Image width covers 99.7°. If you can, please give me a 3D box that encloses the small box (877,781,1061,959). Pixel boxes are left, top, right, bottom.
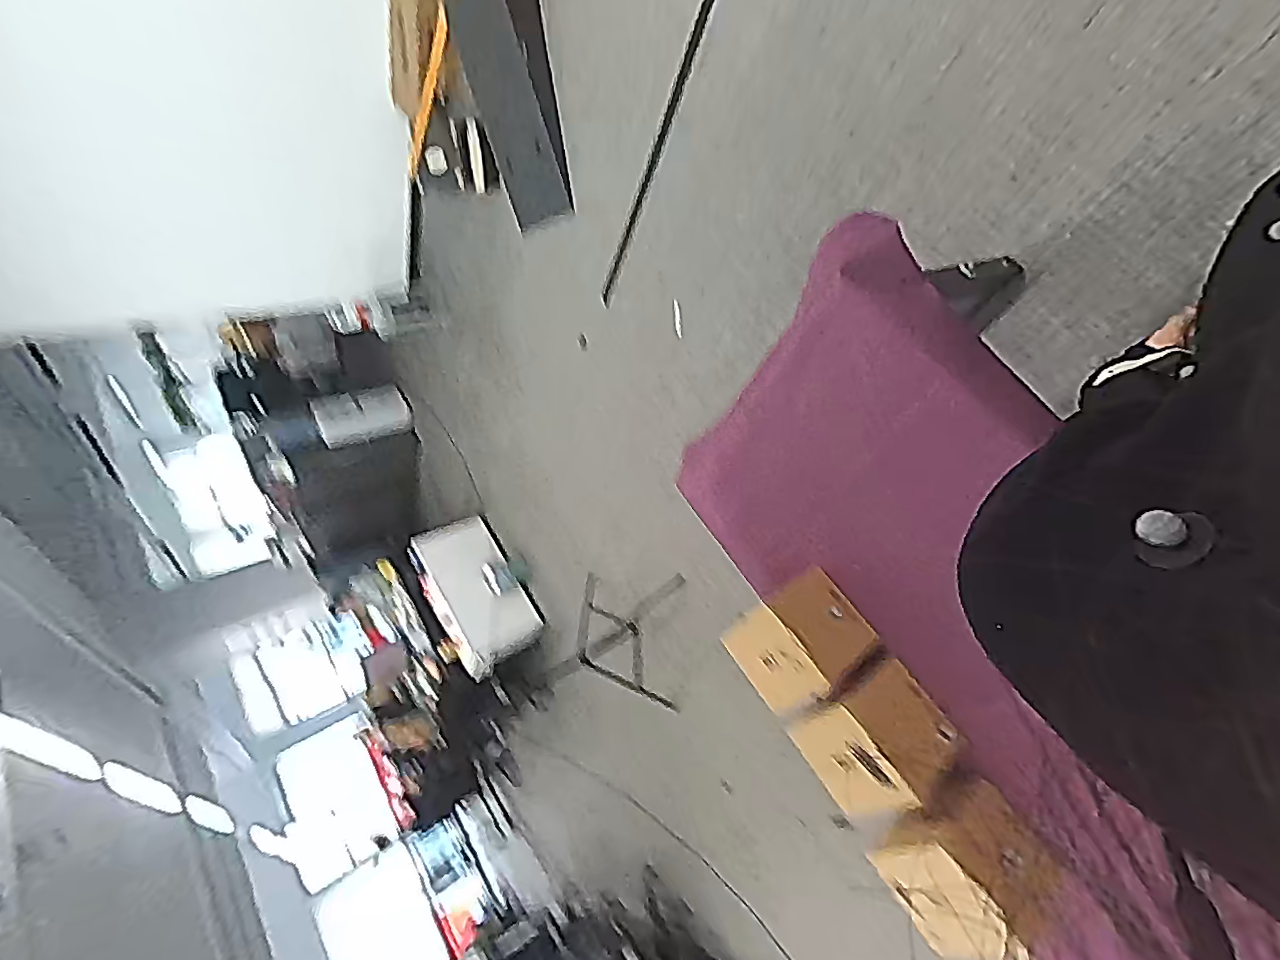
[{"bbox_3d":[0.533,0.621,0.873,0.168,0.176,0.179,53,140,21],"label":"small box"}]
